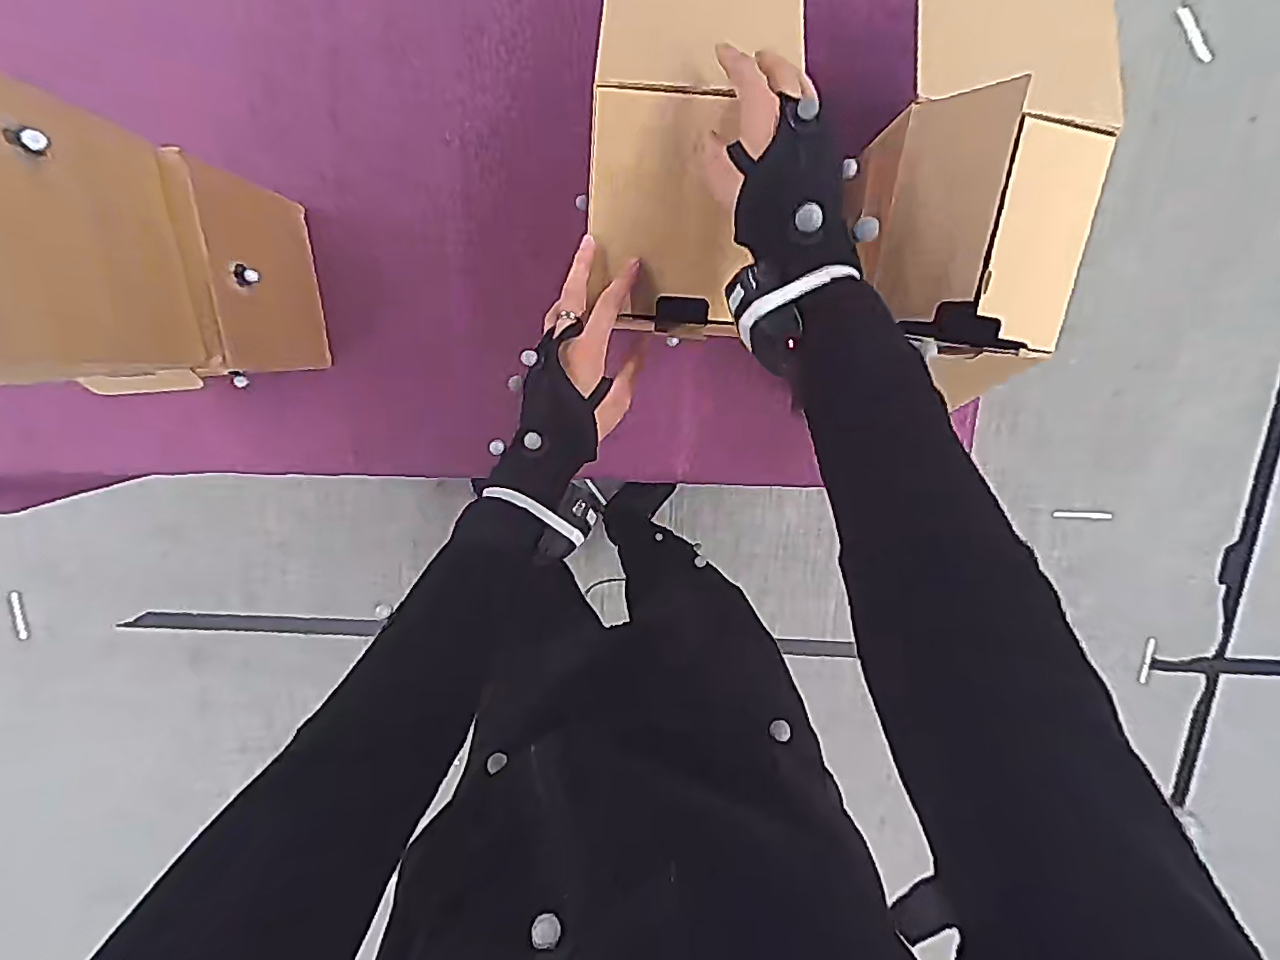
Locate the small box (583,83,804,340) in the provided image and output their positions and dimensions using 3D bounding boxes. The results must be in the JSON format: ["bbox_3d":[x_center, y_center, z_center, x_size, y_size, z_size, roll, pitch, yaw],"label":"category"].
[{"bbox_3d":[0.040,-0.232,0.514,0.168,0.176,0.179,5,103,0],"label":"small box"}]

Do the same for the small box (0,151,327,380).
[{"bbox_3d":[-0.437,-0.193,0.528,0.168,0.176,0.179,-2,102,0],"label":"small box"}]
